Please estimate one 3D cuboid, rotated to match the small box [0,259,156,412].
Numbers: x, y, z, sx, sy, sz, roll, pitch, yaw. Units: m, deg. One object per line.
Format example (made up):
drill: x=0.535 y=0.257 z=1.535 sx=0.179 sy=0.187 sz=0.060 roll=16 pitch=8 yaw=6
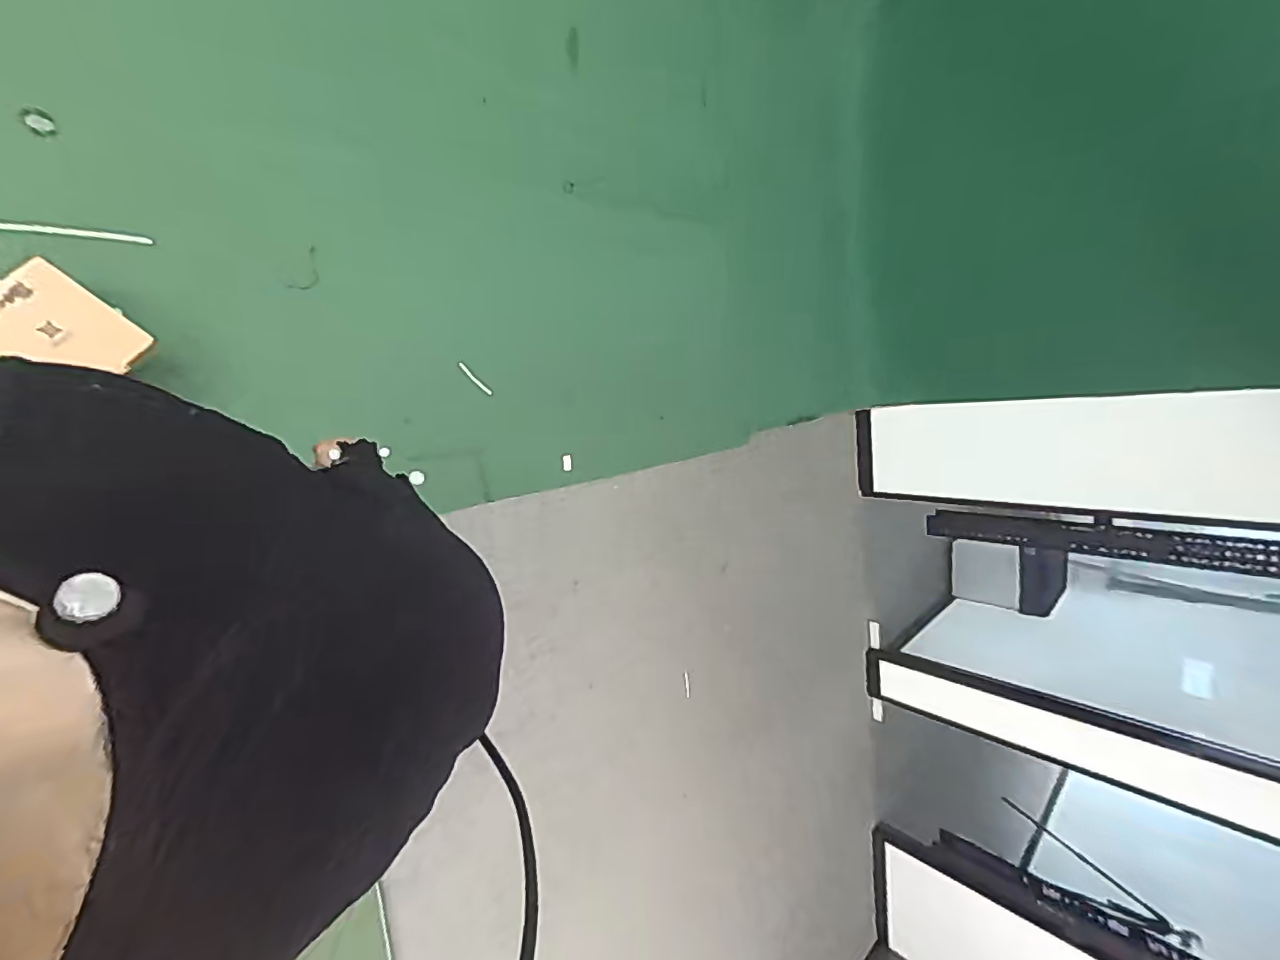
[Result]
small box: x=-0.962 y=-0.231 z=0.900 sx=0.179 sy=0.176 sz=0.168 roll=48 pitch=63 yaw=-34
